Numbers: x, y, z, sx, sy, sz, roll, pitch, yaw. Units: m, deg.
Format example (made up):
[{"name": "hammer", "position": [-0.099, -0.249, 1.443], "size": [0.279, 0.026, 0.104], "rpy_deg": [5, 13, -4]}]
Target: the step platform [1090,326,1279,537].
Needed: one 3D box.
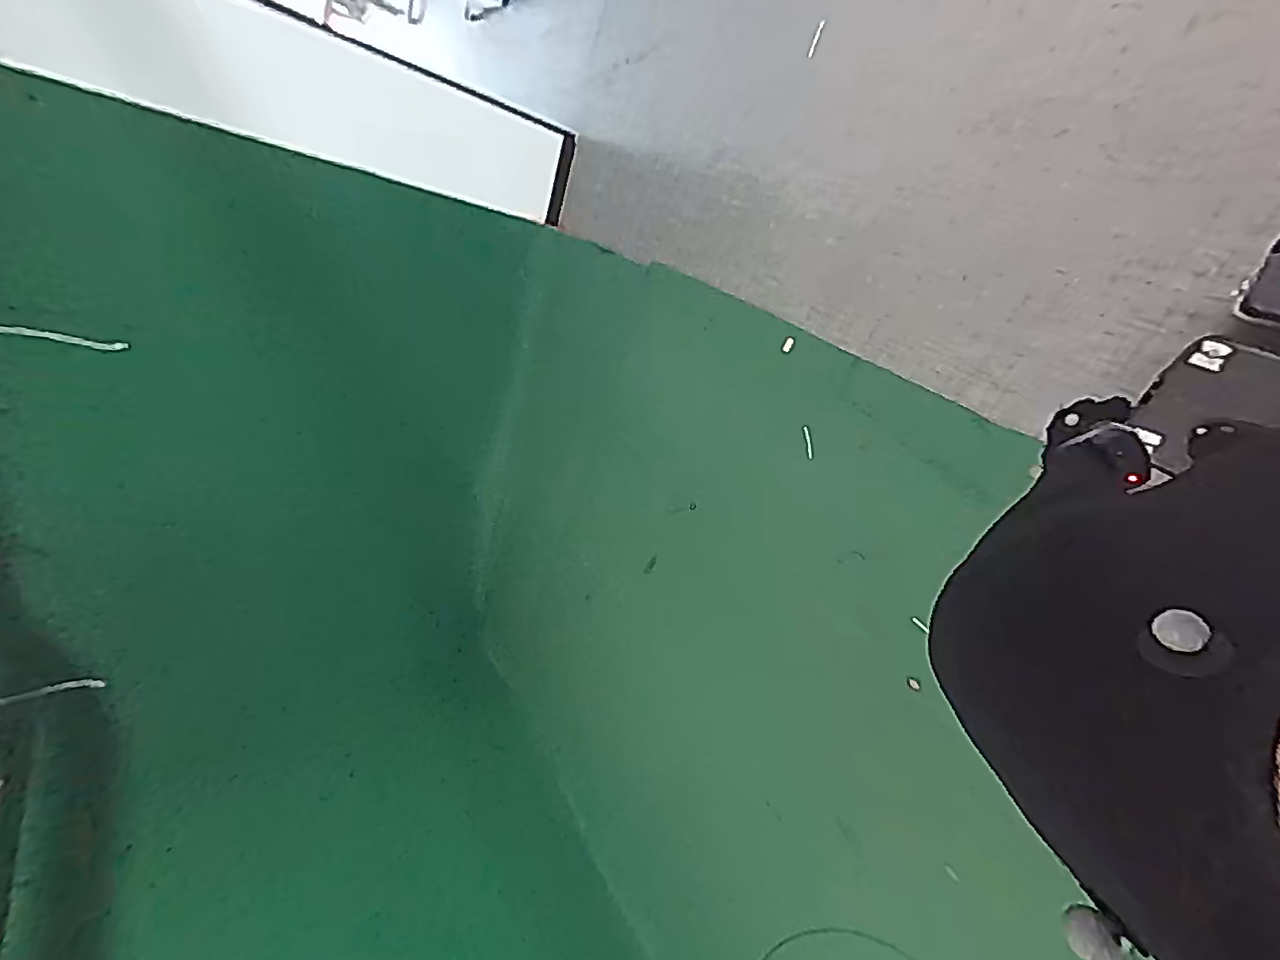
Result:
[{"name": "step platform", "position": [1.166, 0.001, 0.853], "size": [0.684, 0.204, 0.286], "rpy_deg": [41, 122, 39]}]
